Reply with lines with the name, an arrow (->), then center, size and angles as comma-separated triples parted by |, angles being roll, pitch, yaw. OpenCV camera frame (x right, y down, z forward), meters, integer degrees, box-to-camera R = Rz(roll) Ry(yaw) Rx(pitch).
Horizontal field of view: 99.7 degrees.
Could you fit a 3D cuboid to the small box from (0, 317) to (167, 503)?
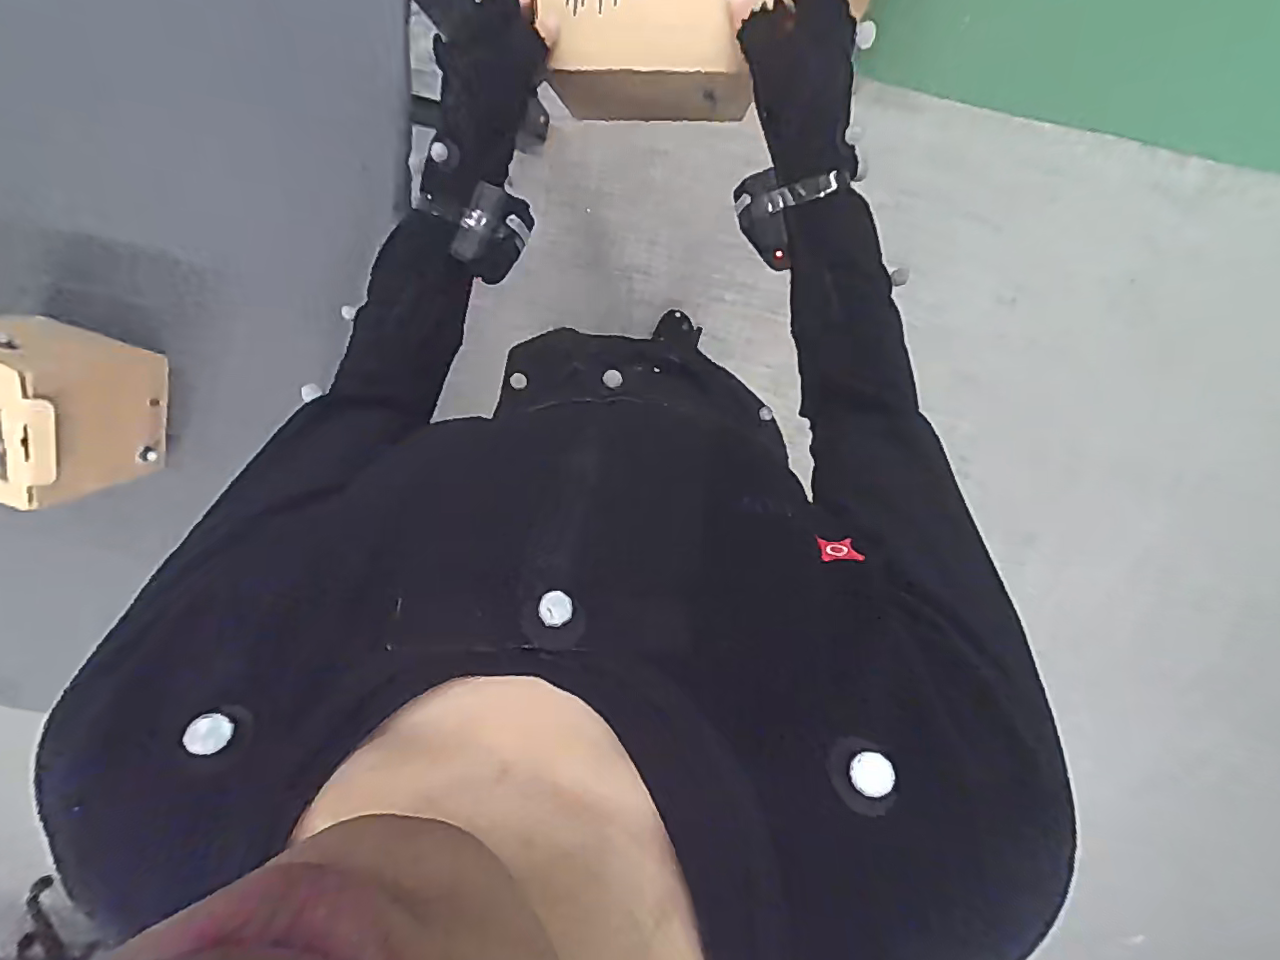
small box -> -0.730, -0.096, 0.659 | 0.179, 0.176, 0.168 | 18, 108, -2
